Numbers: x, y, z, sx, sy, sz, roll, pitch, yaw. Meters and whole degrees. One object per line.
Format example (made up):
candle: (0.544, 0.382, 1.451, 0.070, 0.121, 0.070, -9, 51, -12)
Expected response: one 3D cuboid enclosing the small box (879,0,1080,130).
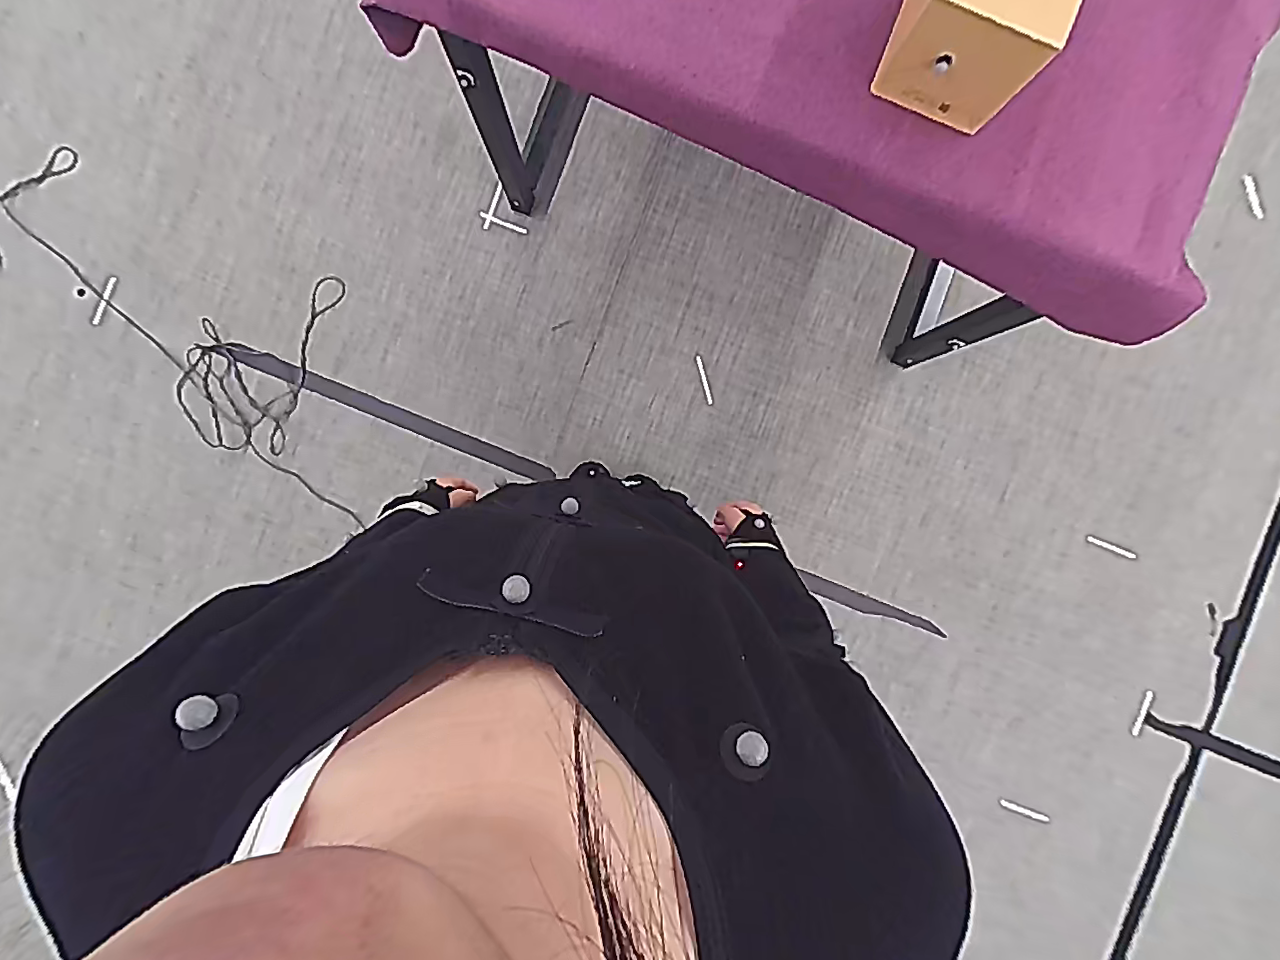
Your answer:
small box: (0.442, -0.608, 0.705, 0.168, 0.176, 0.179, 21, 89, -2)
